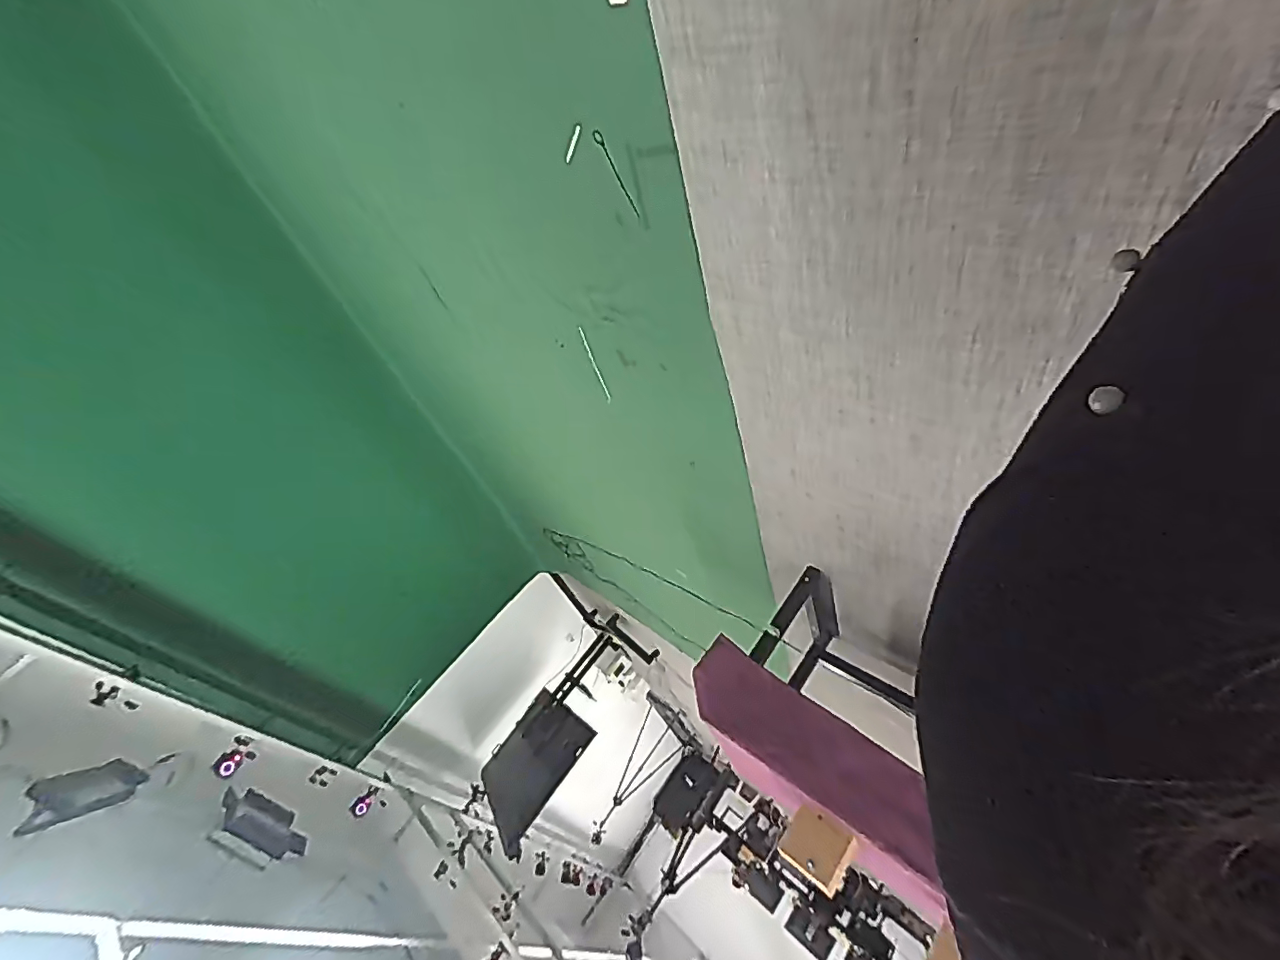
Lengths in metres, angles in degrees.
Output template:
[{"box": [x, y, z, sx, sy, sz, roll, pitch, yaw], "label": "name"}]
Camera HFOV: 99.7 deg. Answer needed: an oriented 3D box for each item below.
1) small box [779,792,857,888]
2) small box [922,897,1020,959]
[{"box": [0.555, 1.109, 1.670, 0.168, 0.176, 0.179, 22, 151, 39], "label": "small box"}, {"box": [0.854, 1.230, 1.400, 0.168, 0.176, 0.179, 23, 151, 38], "label": "small box"}]
